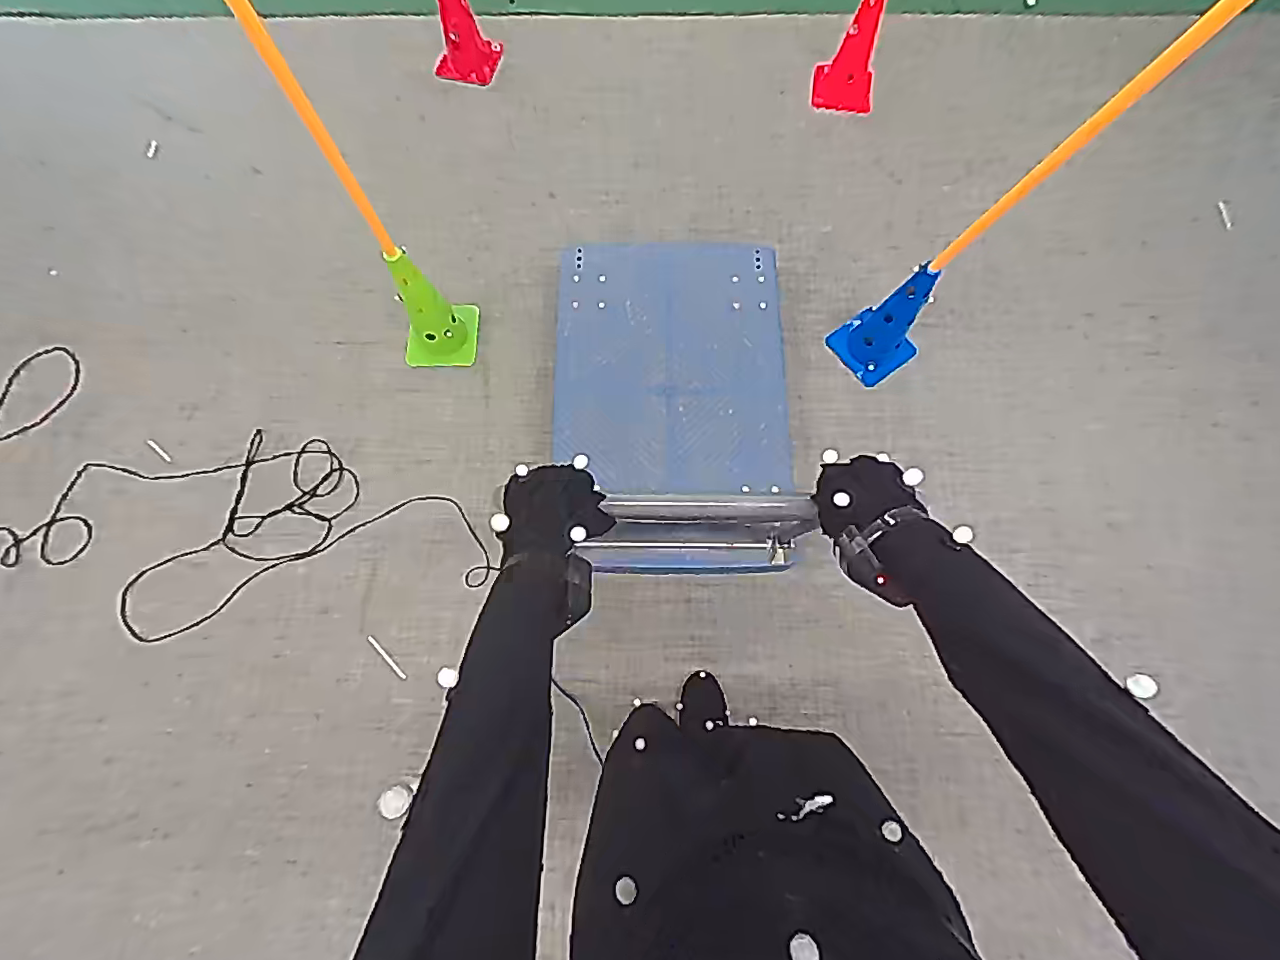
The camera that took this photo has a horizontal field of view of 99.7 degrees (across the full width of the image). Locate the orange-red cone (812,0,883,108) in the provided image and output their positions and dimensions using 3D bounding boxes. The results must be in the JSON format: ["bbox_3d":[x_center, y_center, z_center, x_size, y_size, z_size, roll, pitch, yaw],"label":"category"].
[{"bbox_3d":[0.684,-1.387,1.662,0.198,0.360,0.199,11,76,4],"label":"orange-red cone"}]
